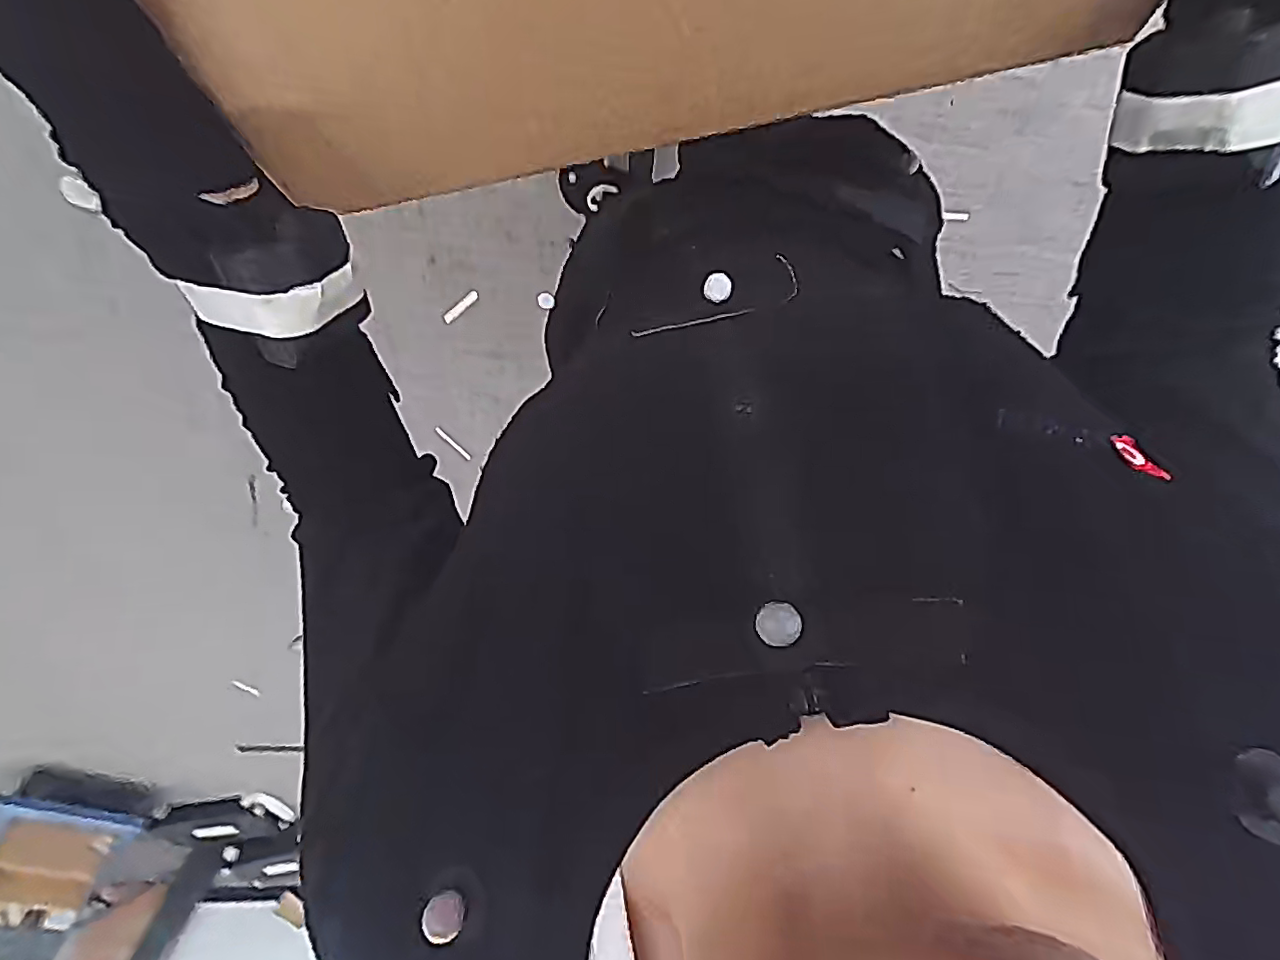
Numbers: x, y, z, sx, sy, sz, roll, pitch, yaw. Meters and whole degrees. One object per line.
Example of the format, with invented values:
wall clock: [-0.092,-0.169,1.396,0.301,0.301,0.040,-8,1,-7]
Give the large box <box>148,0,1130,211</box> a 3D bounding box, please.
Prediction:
large box: [-0.007,-0.365,0.182,0.408,0.320,0.320,-9,160,4]
